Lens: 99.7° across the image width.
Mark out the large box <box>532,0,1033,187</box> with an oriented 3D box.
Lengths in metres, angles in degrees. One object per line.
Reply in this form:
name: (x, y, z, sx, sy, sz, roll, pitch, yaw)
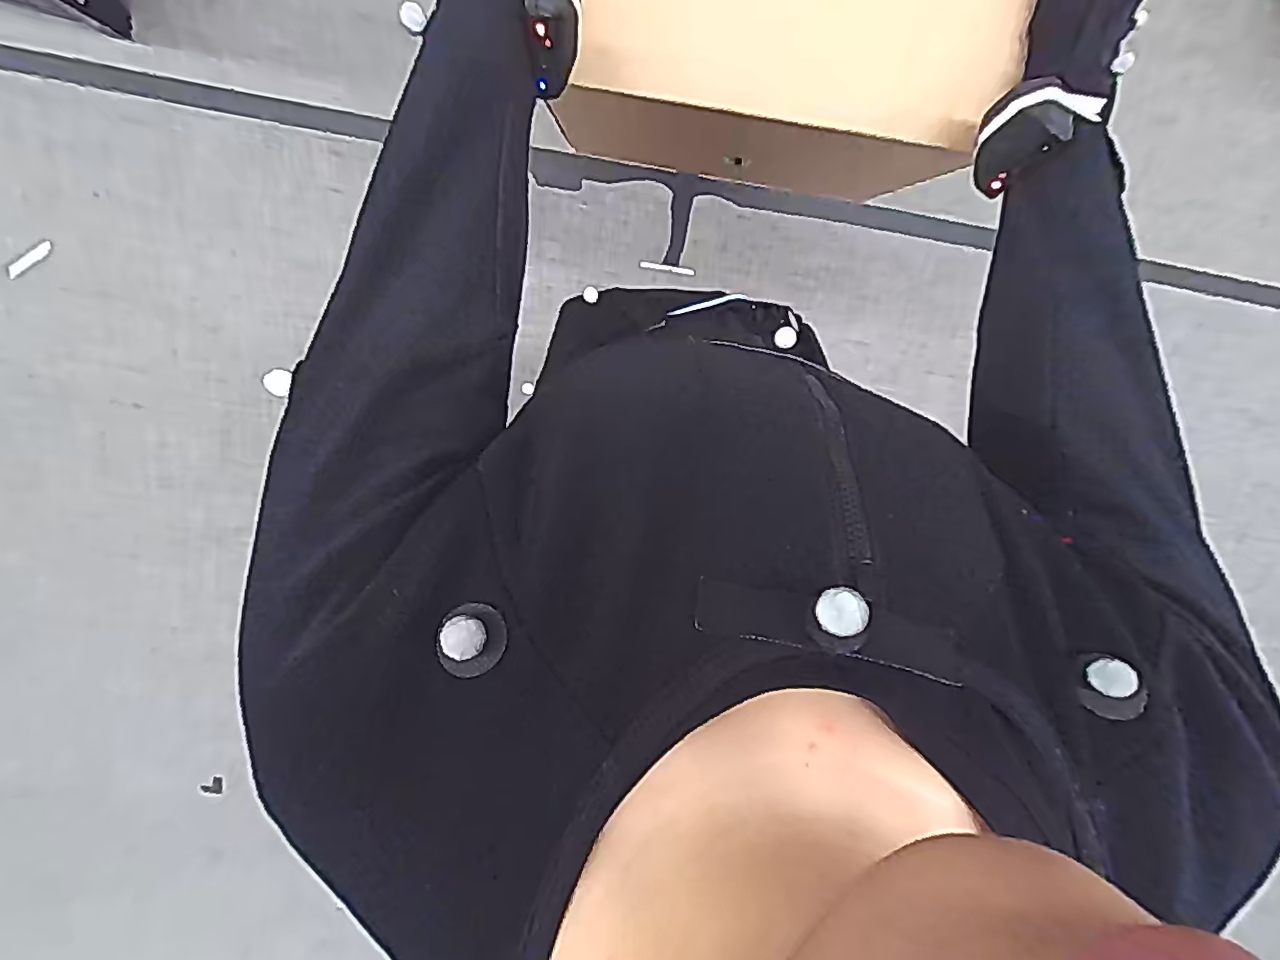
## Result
large box: (0.131, -0.511, 0.544, 0.408, 0.320, 0.320, 9, 110, -2)
